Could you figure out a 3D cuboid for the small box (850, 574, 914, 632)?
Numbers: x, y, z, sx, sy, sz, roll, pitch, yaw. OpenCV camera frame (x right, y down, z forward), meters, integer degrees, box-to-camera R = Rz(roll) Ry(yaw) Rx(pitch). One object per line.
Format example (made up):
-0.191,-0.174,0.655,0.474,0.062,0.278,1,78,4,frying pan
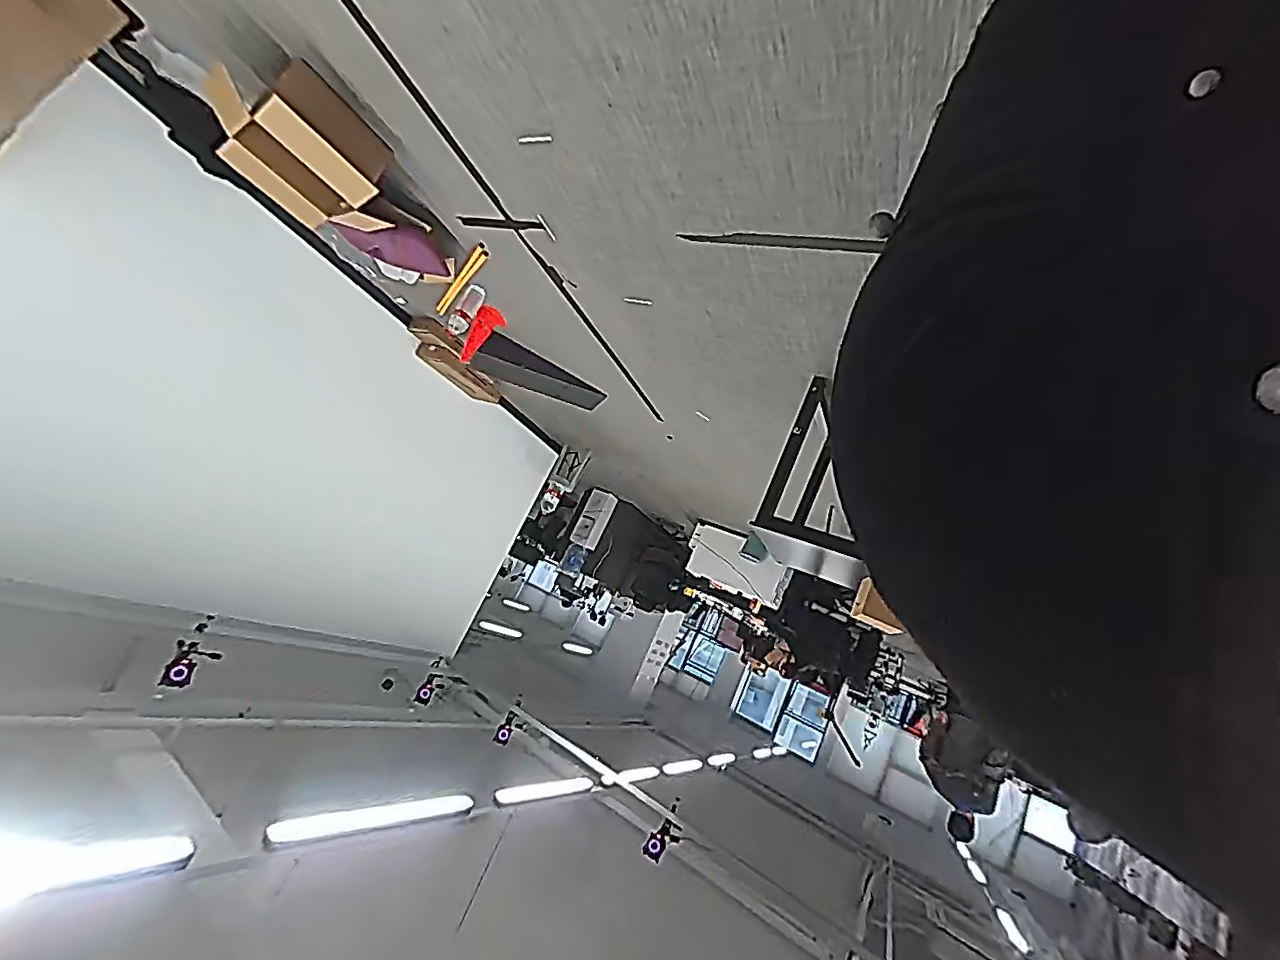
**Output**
0.950,0.480,2.121,0.168,0.176,0.179,23,168,13,small box
